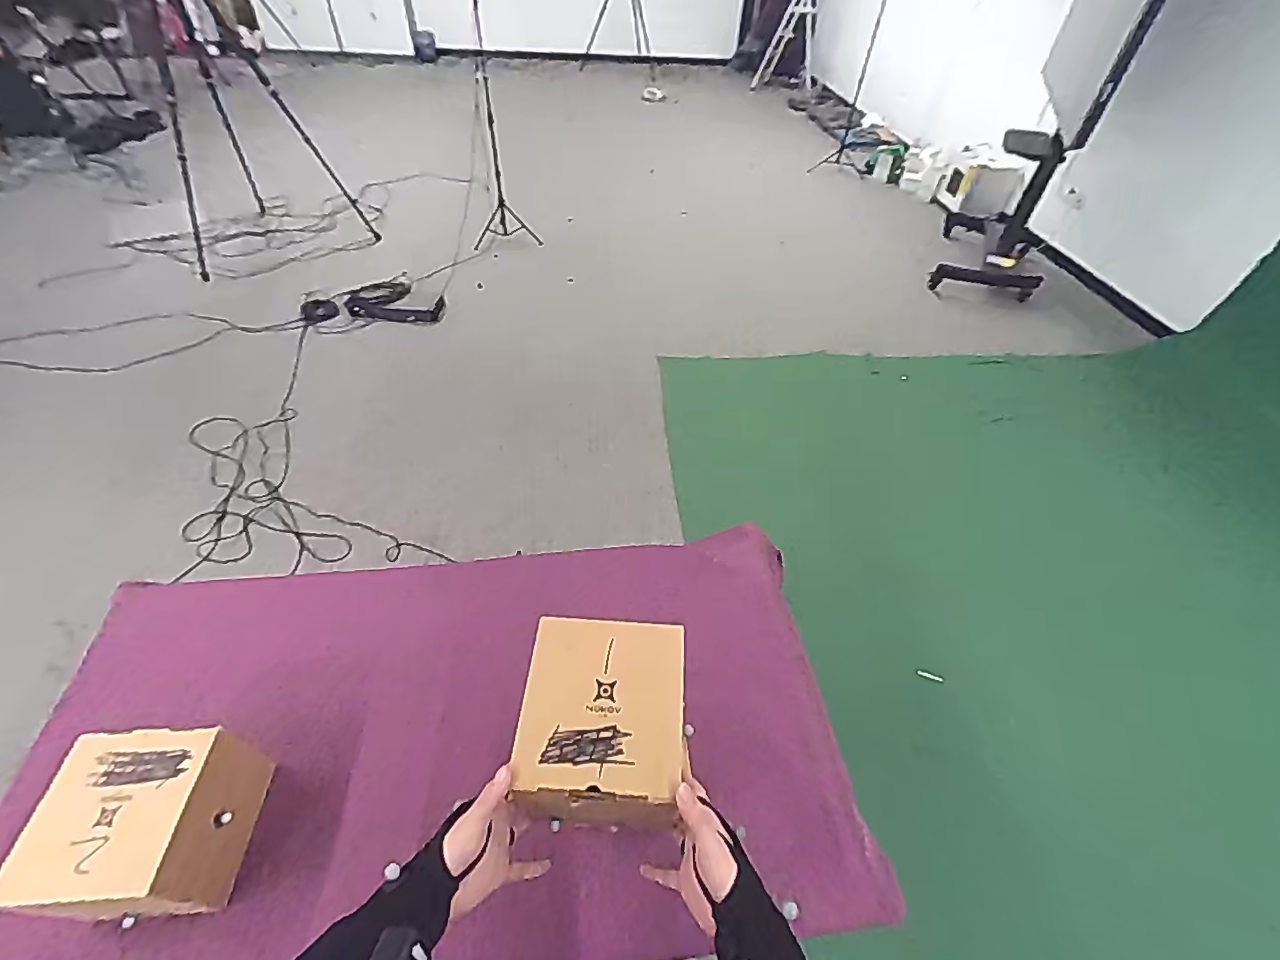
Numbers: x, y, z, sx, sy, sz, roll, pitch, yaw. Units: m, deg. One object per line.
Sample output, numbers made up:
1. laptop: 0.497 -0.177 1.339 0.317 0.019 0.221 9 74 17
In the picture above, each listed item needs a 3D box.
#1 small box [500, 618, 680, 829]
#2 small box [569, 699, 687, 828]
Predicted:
1. small box: -0.043 0.279 0.614 0.168 0.176 0.179 4 49 3
2. small box: -0.031 0.379 0.782 0.168 0.176 0.179 -2 47 -4
